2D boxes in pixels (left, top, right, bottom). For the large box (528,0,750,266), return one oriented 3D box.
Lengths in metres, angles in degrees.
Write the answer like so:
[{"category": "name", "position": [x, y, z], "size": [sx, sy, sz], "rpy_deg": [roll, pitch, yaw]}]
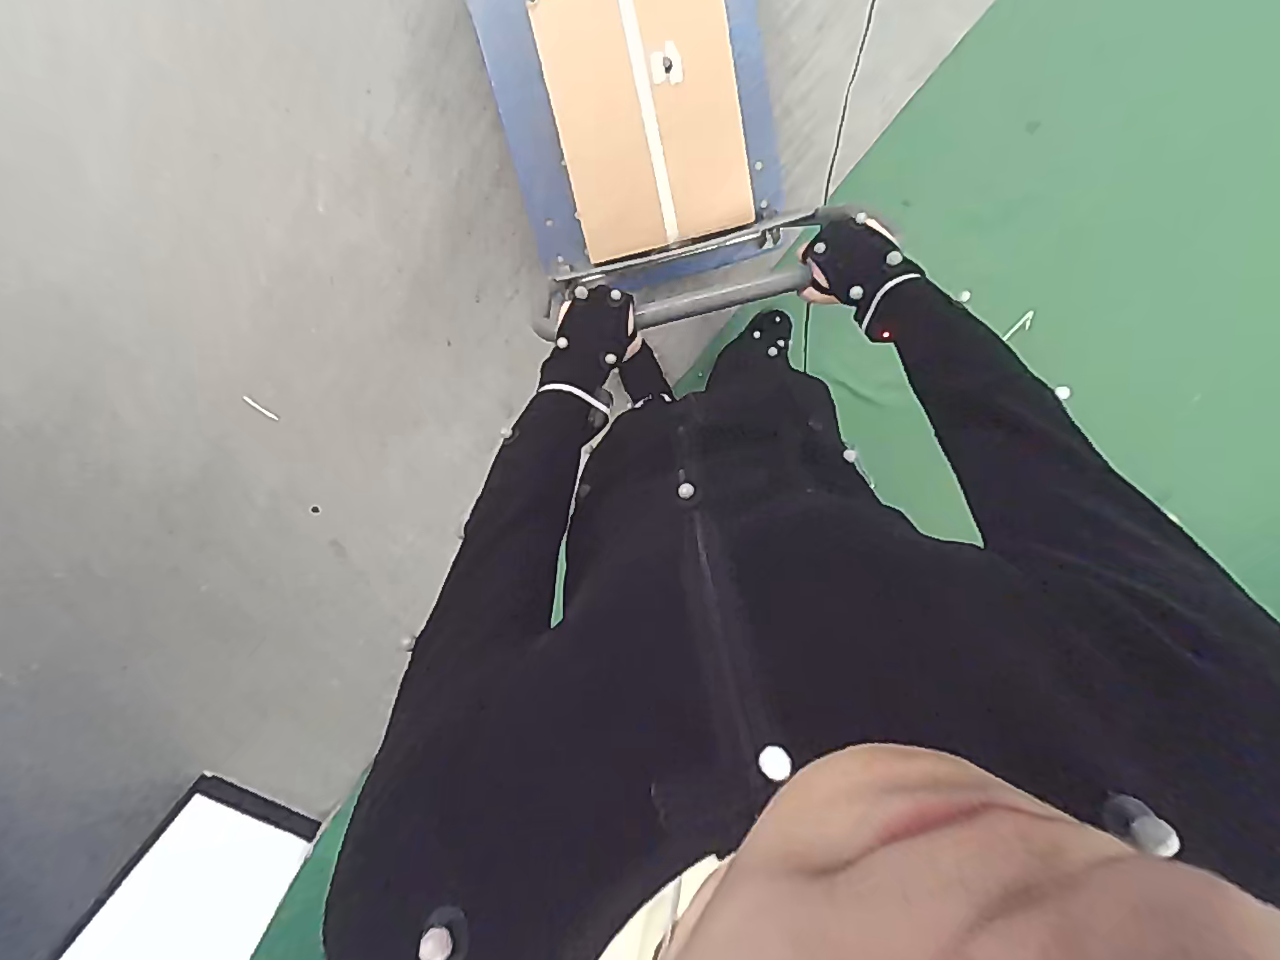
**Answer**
[{"category": "large box", "position": [0.009, -0.677, 1.083], "size": [0.320, 0.320, 0.408], "rpy_deg": [-13, 110, 3]}]
